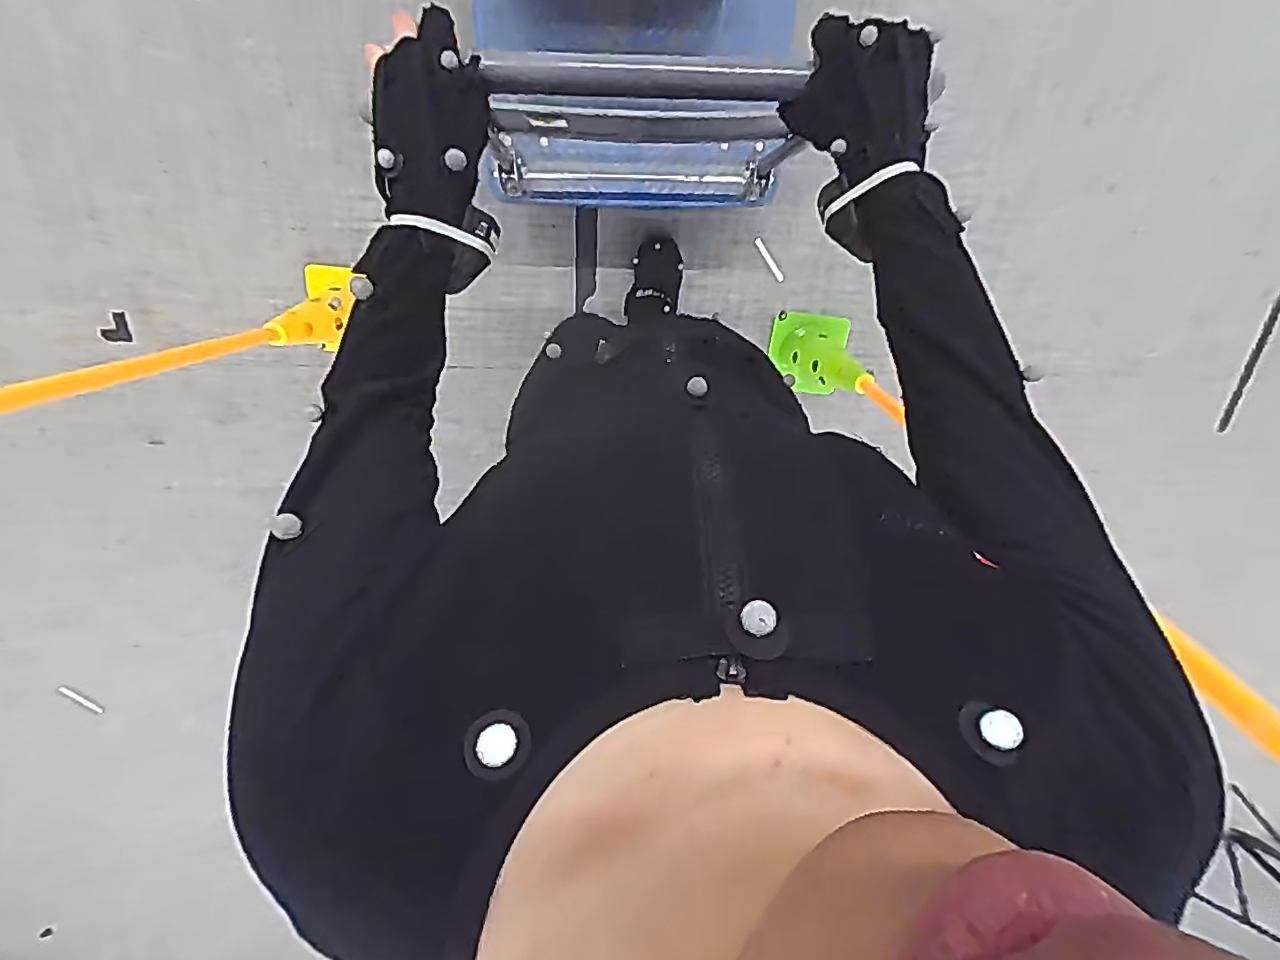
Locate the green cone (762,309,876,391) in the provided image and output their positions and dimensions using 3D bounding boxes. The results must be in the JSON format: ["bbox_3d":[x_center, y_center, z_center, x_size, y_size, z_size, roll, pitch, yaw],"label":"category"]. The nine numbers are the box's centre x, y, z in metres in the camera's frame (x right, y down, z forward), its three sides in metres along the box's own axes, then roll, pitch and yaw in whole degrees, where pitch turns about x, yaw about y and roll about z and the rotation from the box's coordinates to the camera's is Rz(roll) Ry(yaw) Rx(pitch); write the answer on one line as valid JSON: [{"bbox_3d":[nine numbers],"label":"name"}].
[{"bbox_3d":[0.443,-0.268,1.259,0.202,0.368,0.200,4,113,-6],"label":"green cone"}]
